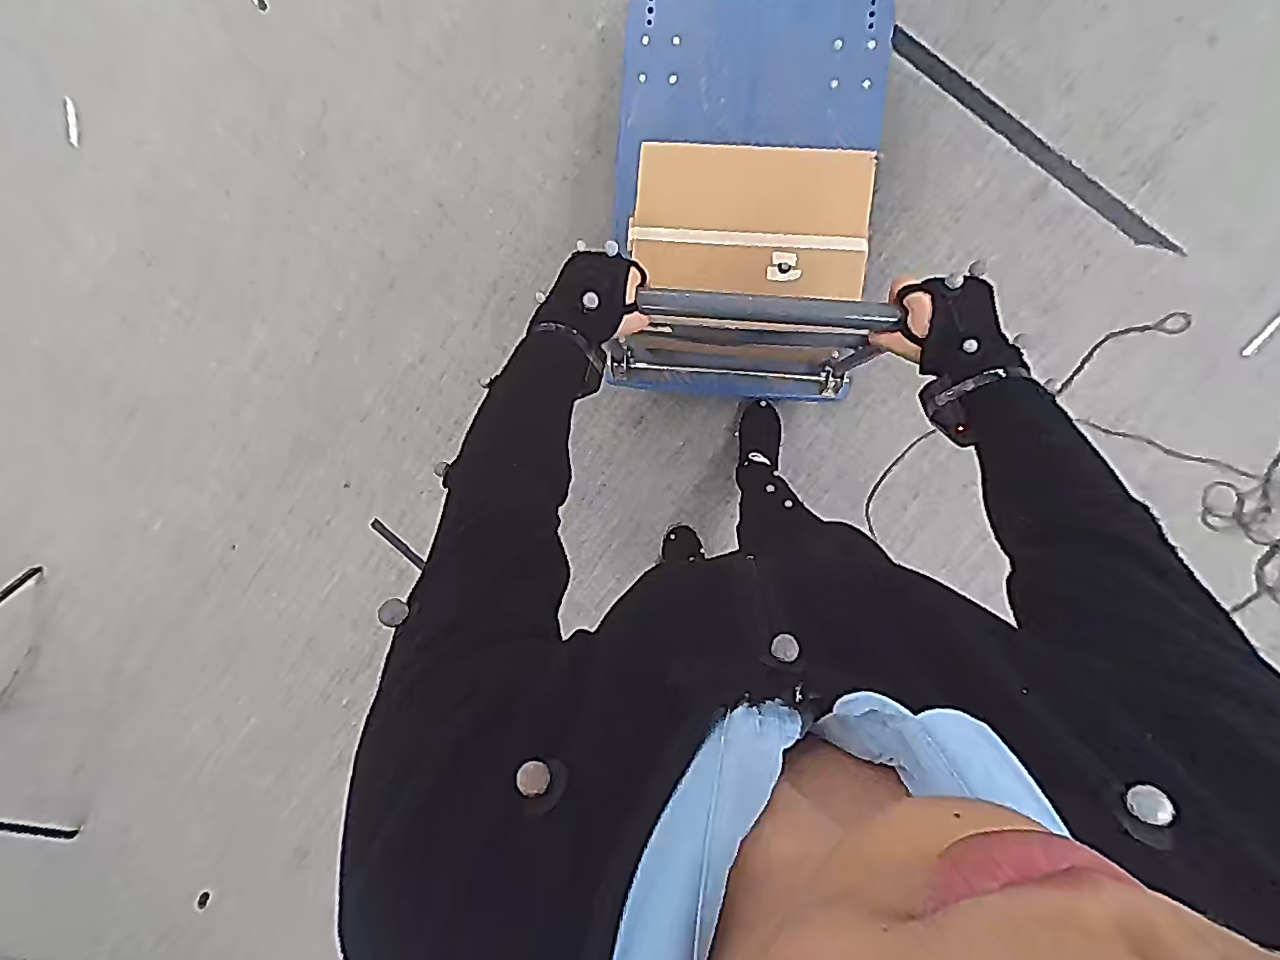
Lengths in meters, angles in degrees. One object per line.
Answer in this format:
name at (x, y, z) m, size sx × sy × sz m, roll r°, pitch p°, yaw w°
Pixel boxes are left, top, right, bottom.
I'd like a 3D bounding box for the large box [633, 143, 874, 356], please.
large box at (0.203, -0.438, 1.096) m, size 0.408 × 0.320 × 0.320 m, roll 5°, pitch 96°, yaw 4°
